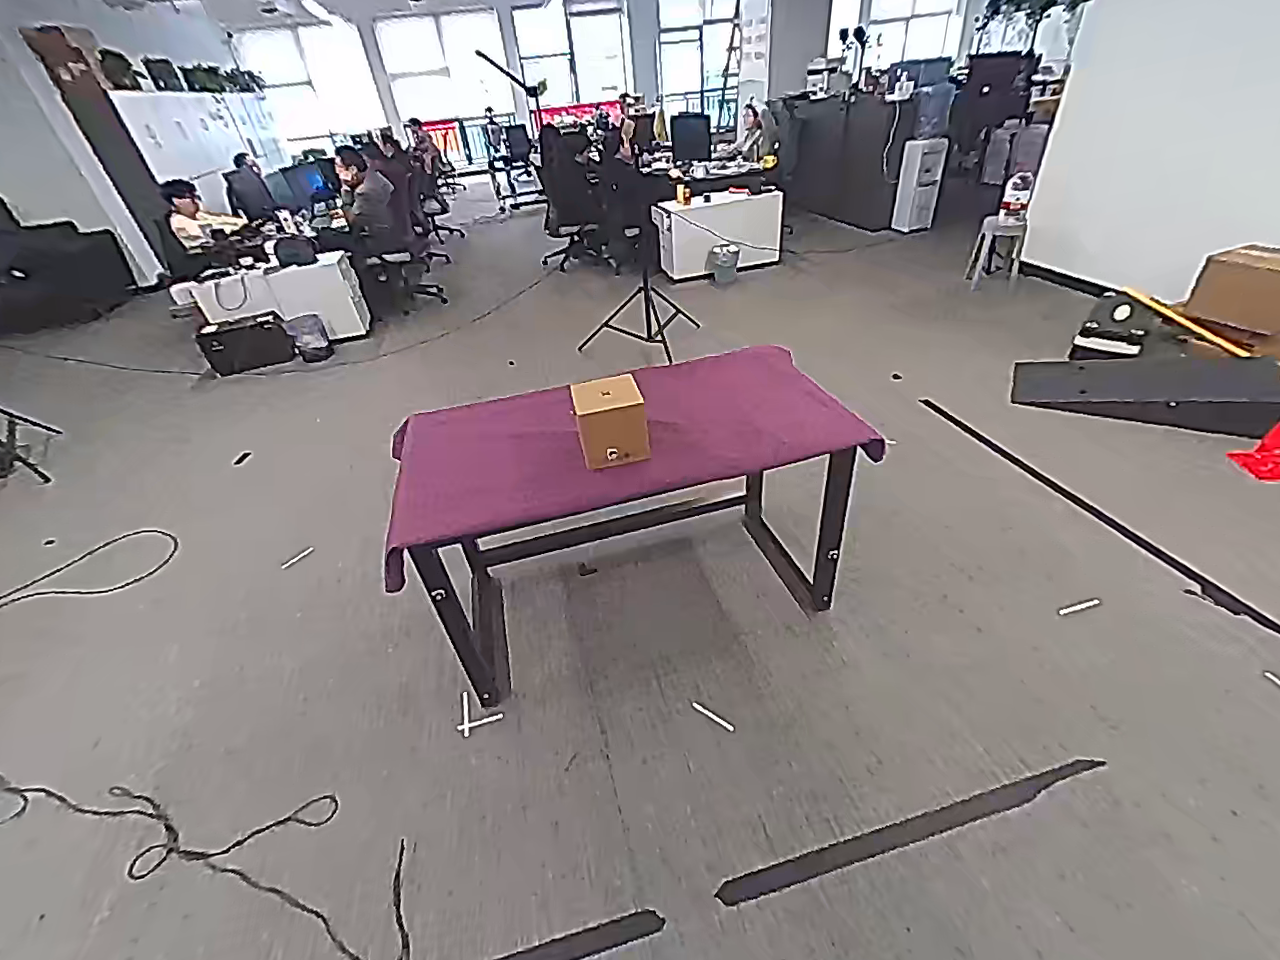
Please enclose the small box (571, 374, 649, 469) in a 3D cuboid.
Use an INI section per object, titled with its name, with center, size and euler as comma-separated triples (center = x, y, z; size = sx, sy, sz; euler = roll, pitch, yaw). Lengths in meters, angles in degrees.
[small box]
center = -0.078, -0.152, 1.399
size = 0.168, 0.176, 0.179
euler = -12, 37, -6
